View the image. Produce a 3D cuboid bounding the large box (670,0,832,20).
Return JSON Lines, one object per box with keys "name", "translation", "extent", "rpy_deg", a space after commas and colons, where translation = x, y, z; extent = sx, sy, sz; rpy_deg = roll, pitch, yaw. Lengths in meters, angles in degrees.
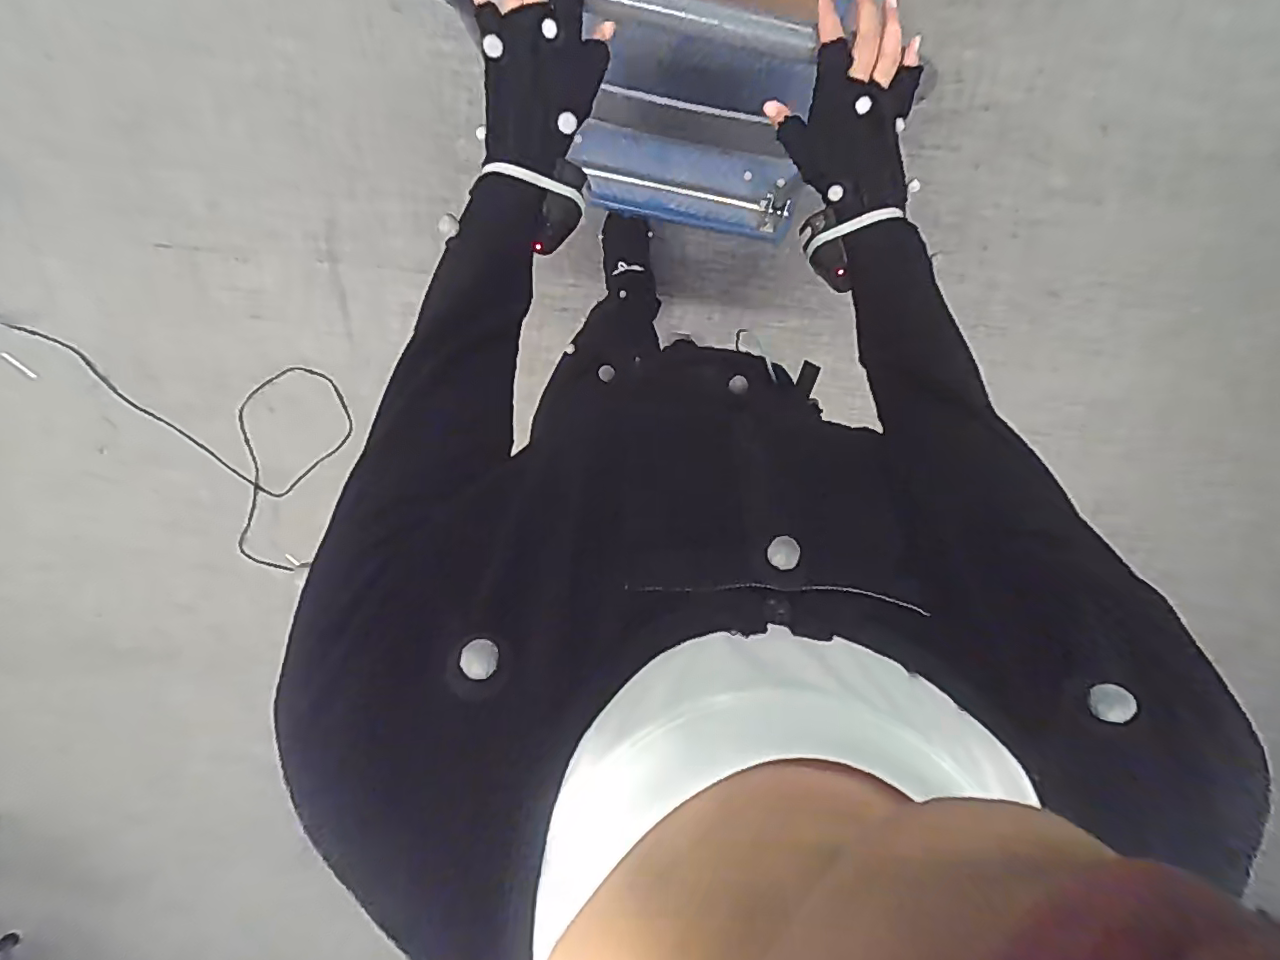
{"name": "large box", "translation": [0.163, -0.990, 0.838], "extent": [0.408, 0.320, 0.320], "rpy_deg": [8, 108, -1]}
